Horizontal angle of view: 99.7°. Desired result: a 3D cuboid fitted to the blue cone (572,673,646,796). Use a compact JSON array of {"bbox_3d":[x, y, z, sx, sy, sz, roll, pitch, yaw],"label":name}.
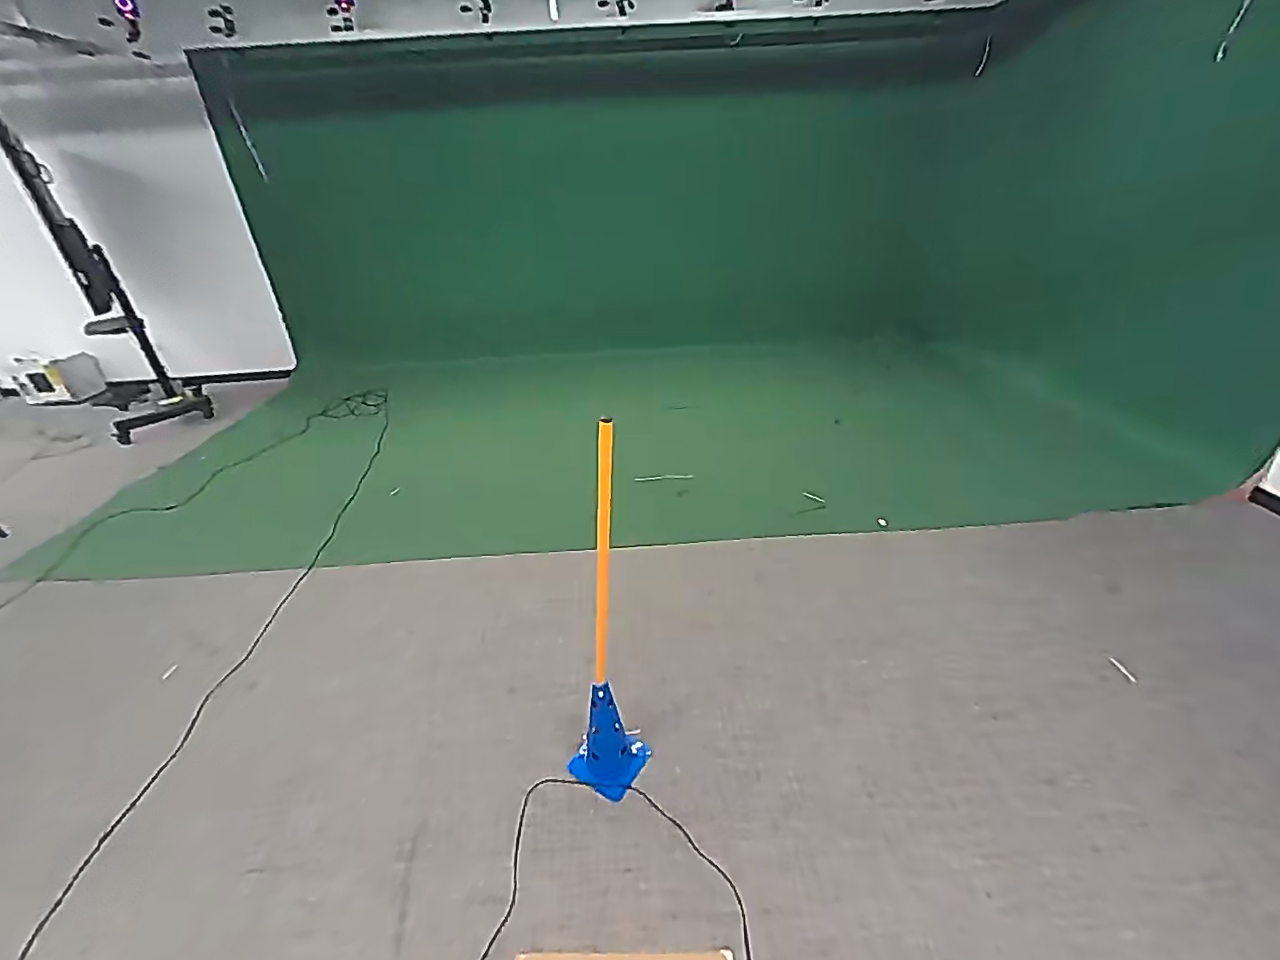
[{"bbox_3d":[-0.100,0.702,1.568,0.192,0.380,0.193,15,33,27],"label":"blue cone"}]
